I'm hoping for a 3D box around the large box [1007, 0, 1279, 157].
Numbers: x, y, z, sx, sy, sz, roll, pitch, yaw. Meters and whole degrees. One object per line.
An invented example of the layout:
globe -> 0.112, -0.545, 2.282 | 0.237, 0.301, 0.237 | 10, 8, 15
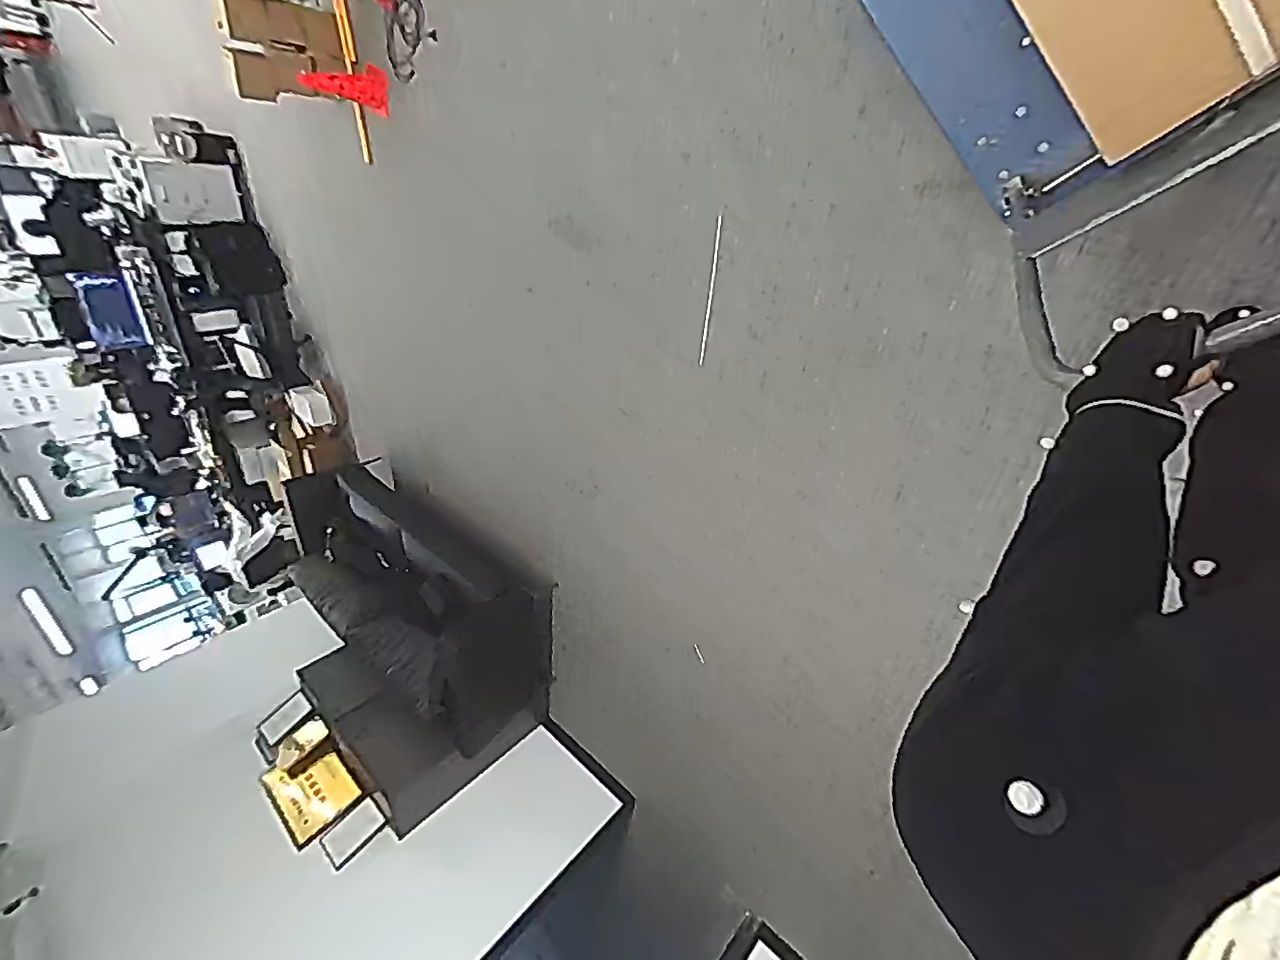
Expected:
large box -> 0.718, -0.753, 0.740 | 0.408, 0.320, 0.320 | 46, 139, -12
